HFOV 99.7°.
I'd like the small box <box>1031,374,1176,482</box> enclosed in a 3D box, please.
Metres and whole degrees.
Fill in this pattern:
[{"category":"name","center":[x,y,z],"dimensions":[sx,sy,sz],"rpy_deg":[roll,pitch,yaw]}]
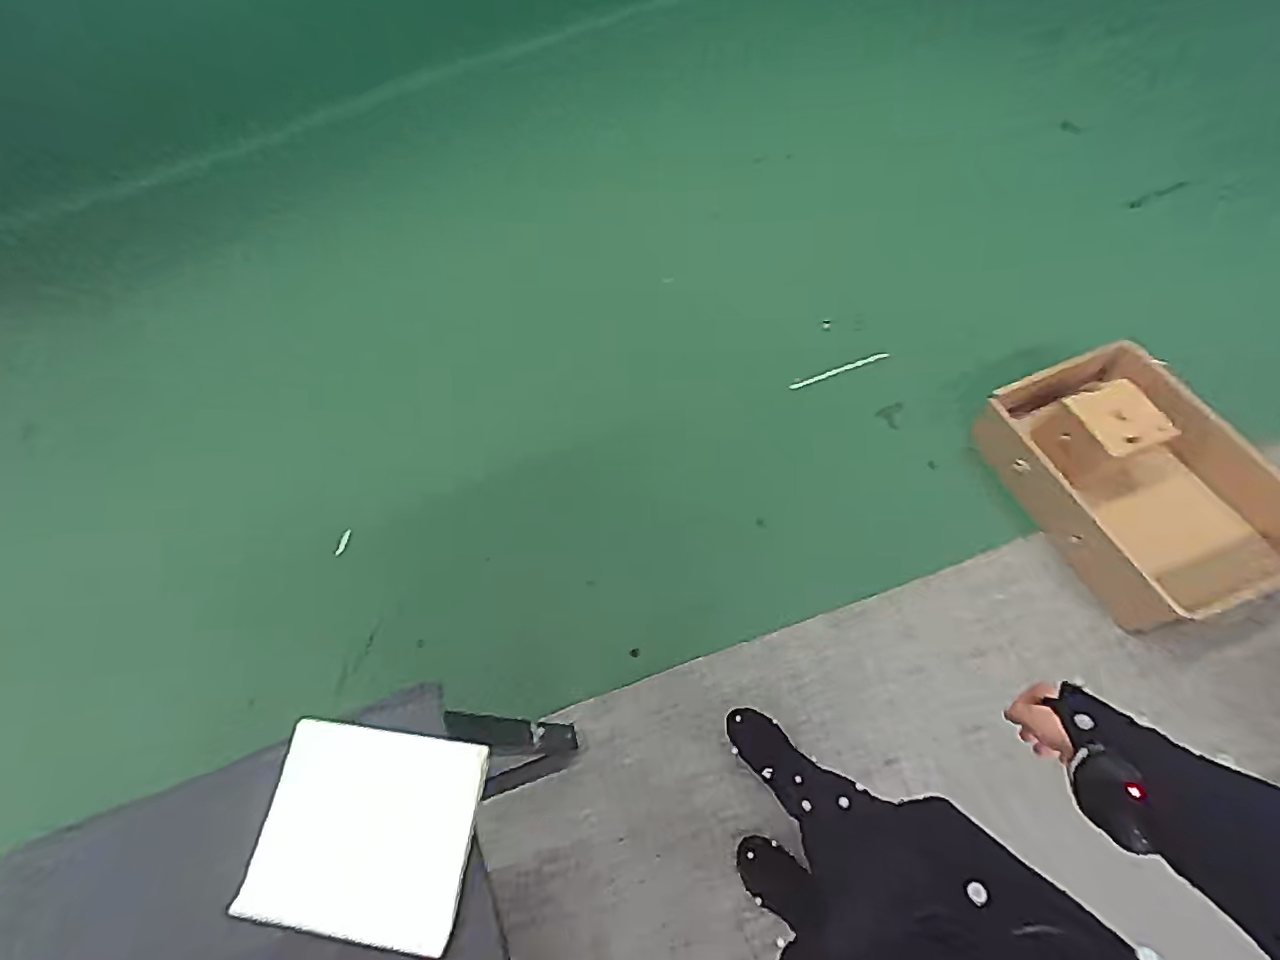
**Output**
[{"category":"small box","center":[1.123,-0.124,1.331],"dimensions":[0.168,0.176,0.179],"rpy_deg":[-21,63,-3]}]
